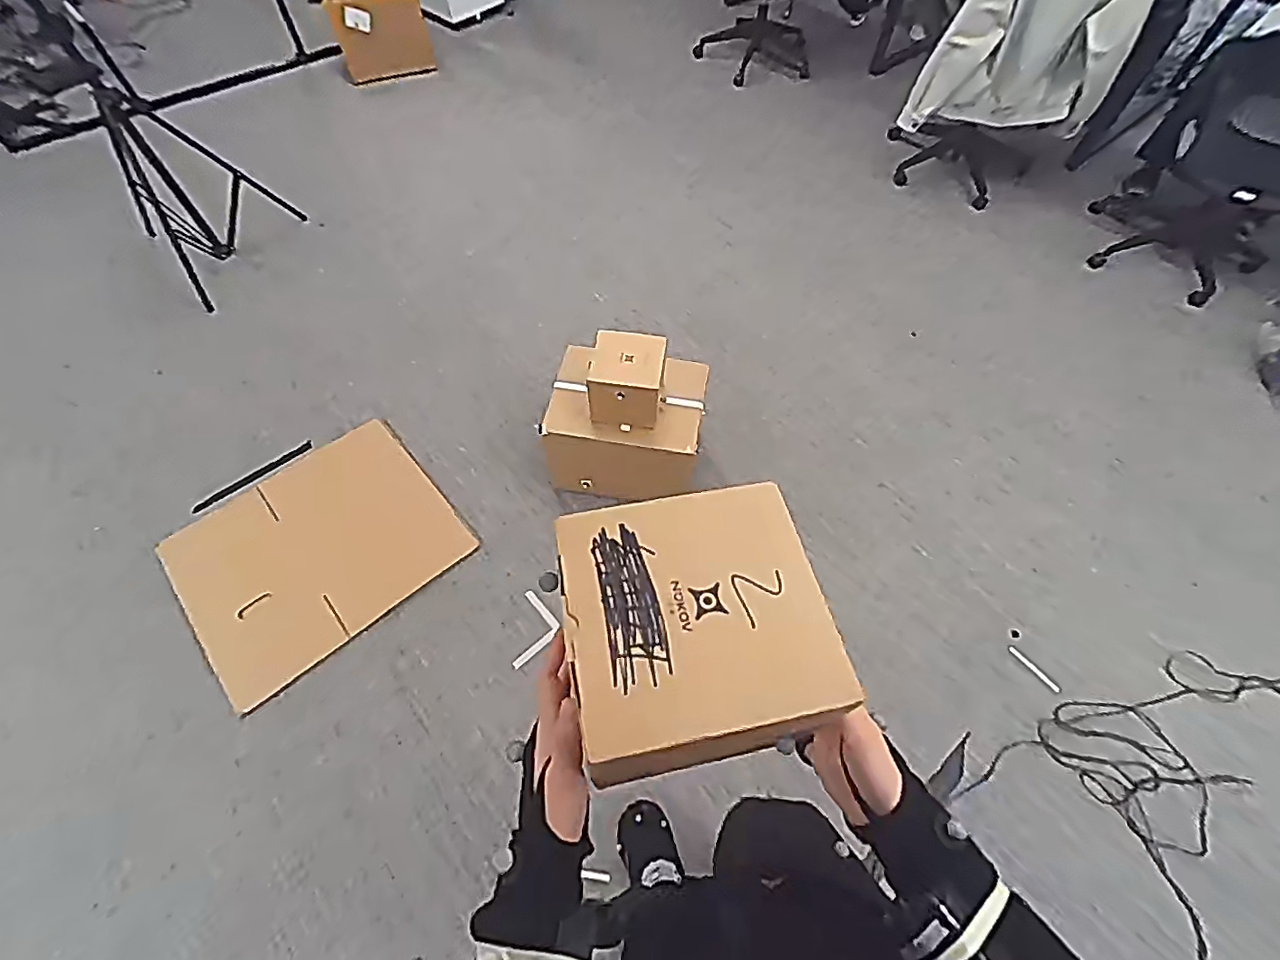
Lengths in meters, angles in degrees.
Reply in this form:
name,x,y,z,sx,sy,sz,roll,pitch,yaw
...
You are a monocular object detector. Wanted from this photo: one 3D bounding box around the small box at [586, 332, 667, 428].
name,x,y,z,sx,sy,sz,roll,pitch,yaw
small box,-0.032,-0.248,1.370,0.179,0.176,0.168,7,62,2
